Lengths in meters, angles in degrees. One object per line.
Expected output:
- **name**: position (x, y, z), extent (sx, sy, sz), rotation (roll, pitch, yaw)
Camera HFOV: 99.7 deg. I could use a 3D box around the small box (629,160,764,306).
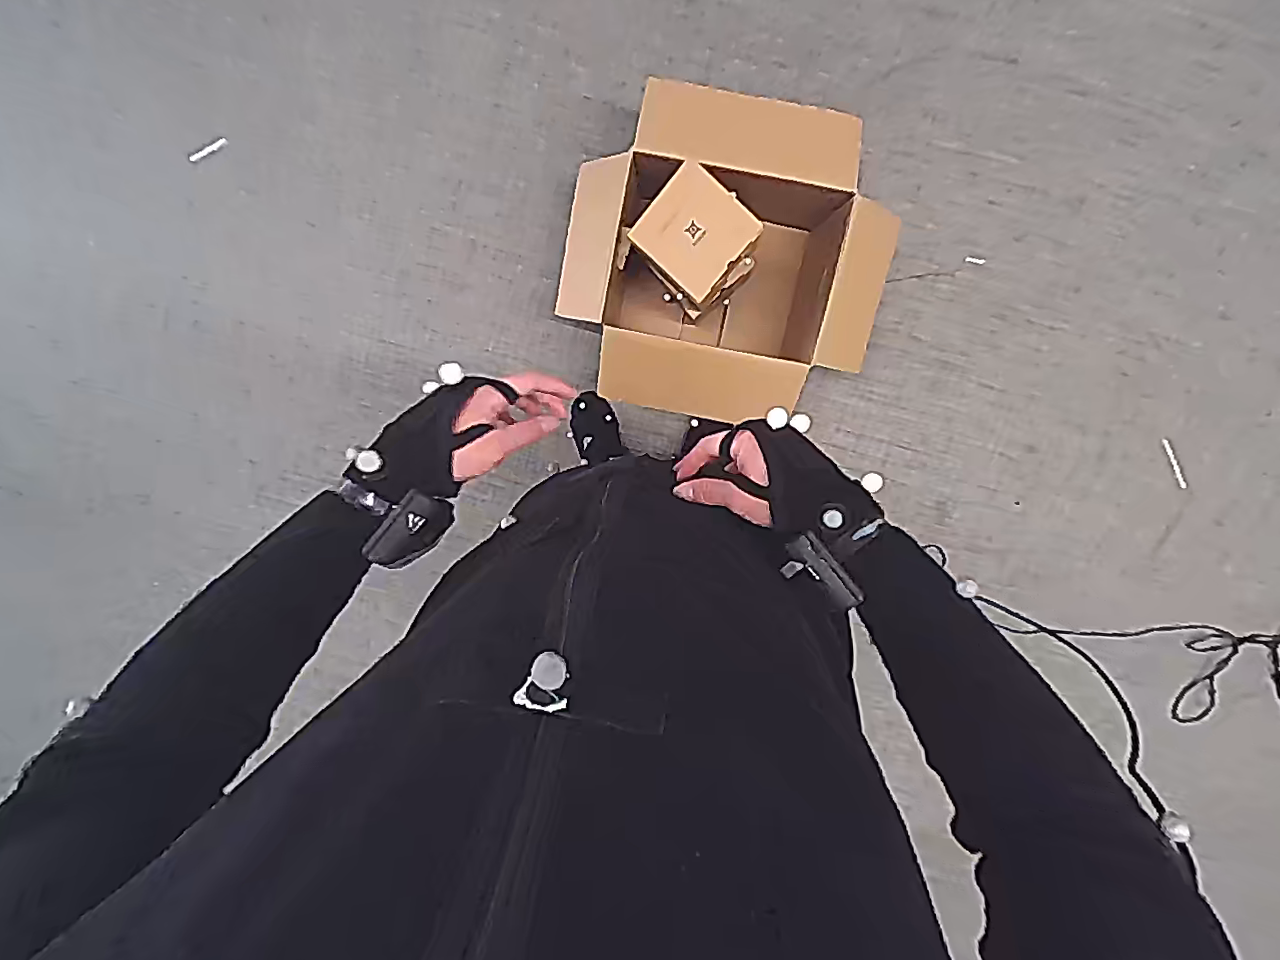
- **small box**: position (0.106, -0.443, 1.006), extent (0.179, 0.176, 0.168), rotation (43, 103, -3)
